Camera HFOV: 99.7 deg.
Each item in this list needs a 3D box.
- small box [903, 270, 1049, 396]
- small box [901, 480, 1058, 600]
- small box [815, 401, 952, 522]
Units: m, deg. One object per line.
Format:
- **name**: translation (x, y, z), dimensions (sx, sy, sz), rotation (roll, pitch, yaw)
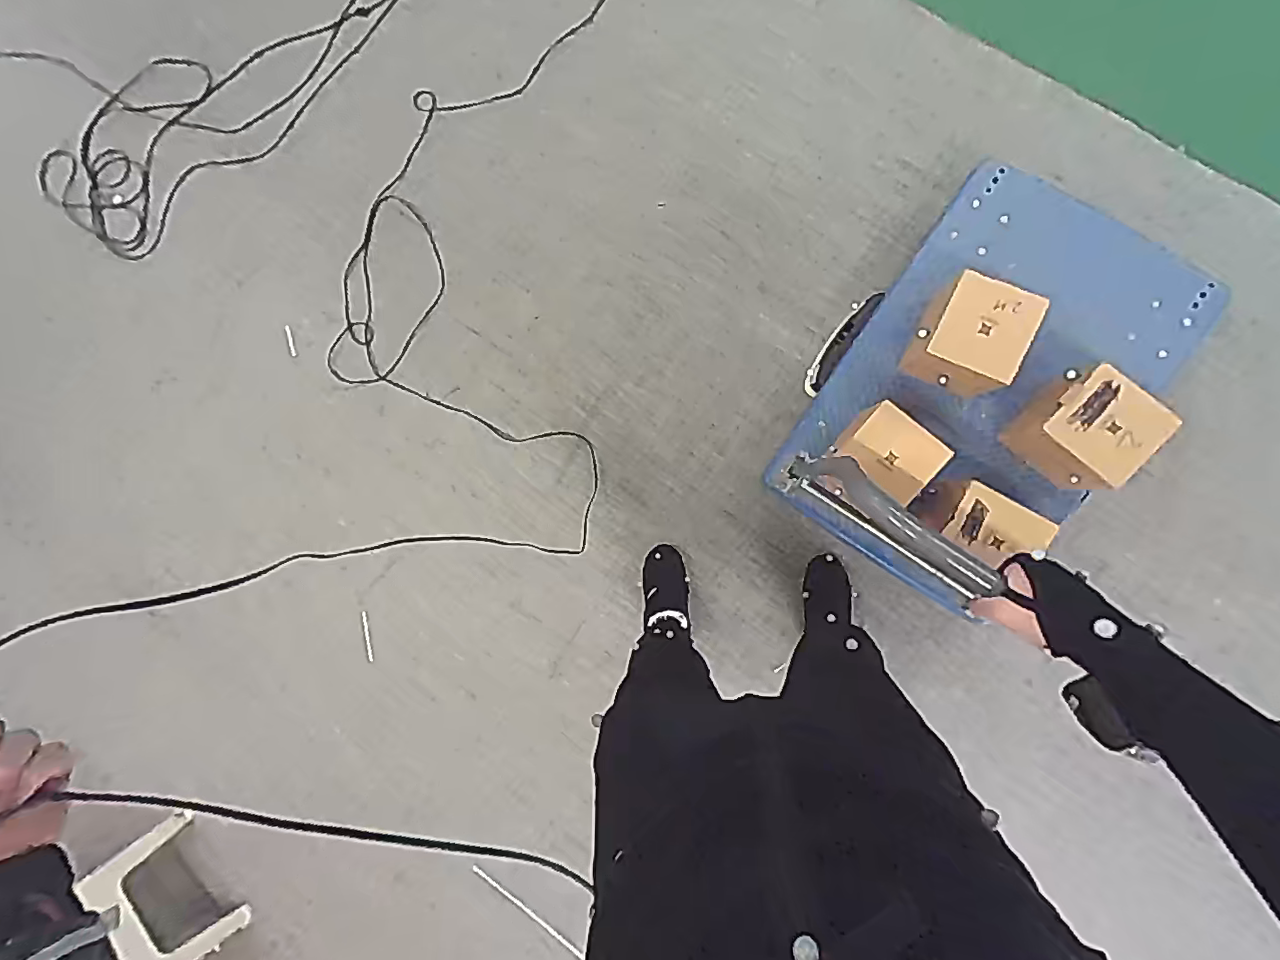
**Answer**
- **small box**: translation (0.663, -0.286, 1.096), dimensions (0.168, 0.176, 0.179), rotation (26, 93, 6)
- **small box**: translation (0.667, 0.115, 1.089), dimensions (0.179, 0.176, 0.168), rotation (31, 94, 5)
- **small box**: translation (0.487, -0.037, 1.118), dimensions (0.168, 0.176, 0.179), rotation (41, 95, 5)
